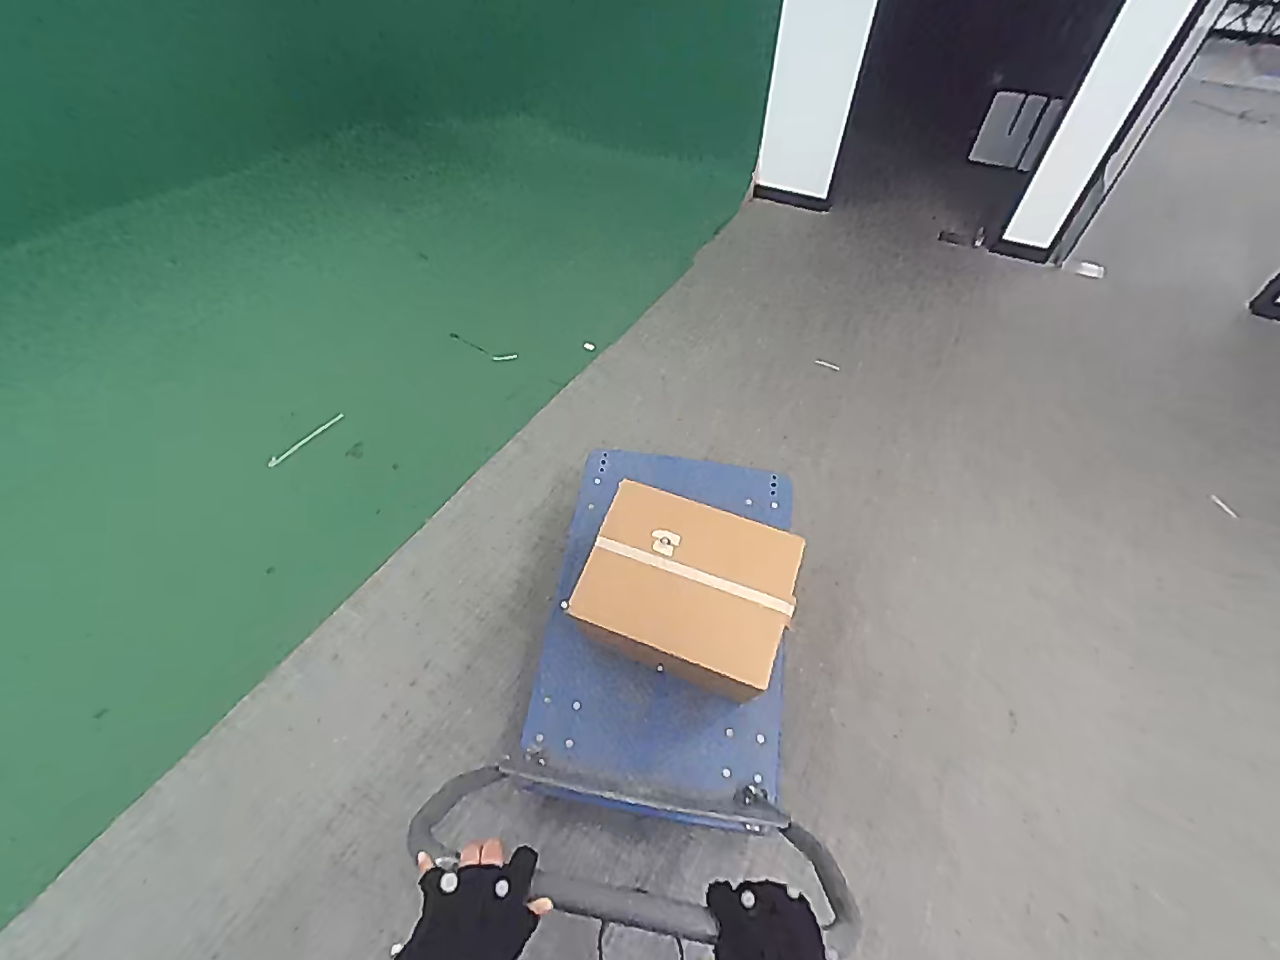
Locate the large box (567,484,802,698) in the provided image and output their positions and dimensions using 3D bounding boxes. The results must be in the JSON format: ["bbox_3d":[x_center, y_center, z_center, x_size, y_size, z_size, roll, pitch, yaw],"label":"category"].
[{"bbox_3d":[0.103,0.257,1.207,0.408,0.320,0.320,19,66,12],"label":"large box"}]
